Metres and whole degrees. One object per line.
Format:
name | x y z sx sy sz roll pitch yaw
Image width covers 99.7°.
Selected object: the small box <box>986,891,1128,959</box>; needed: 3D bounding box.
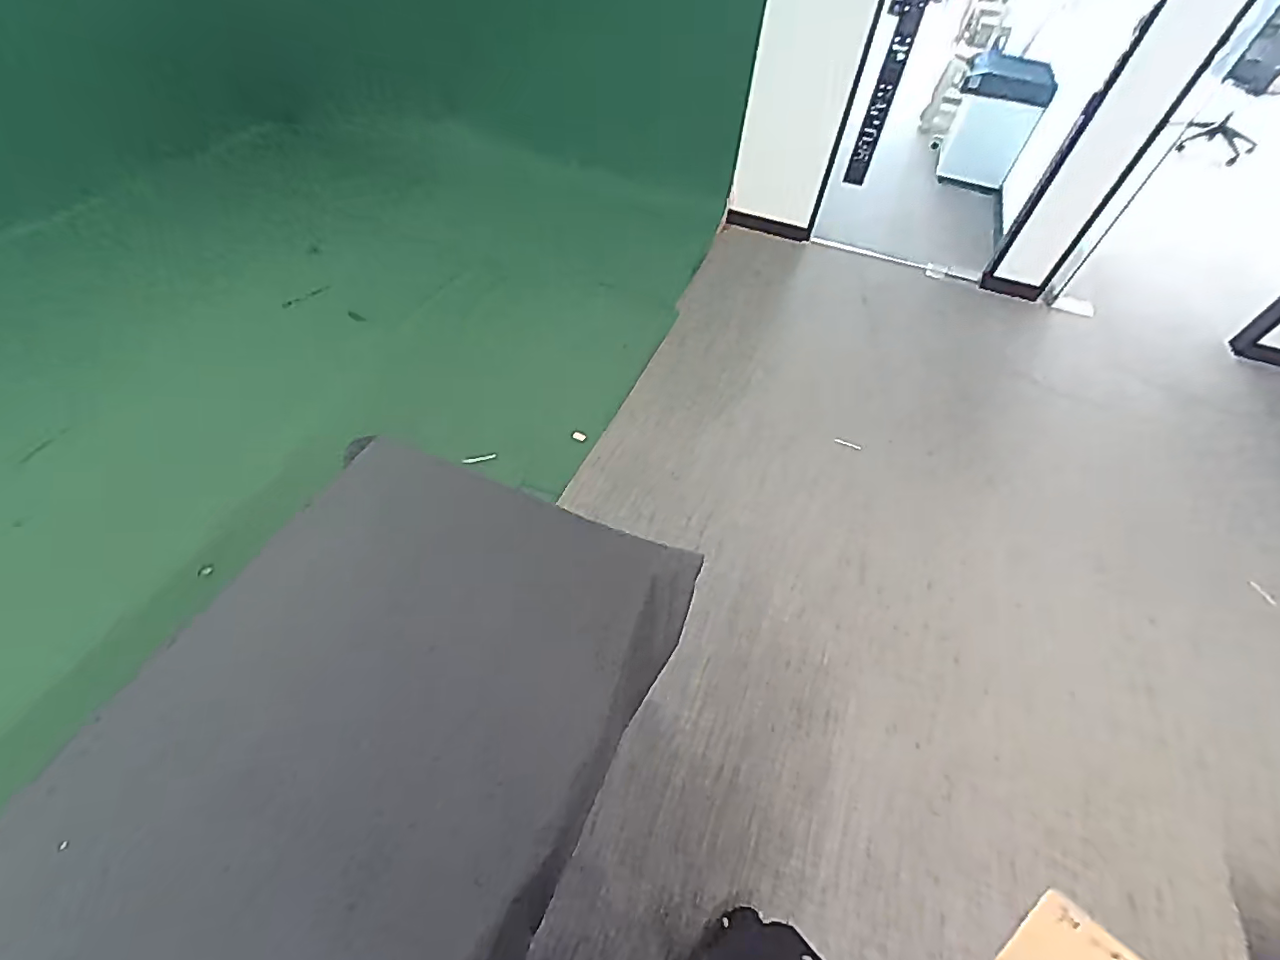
small box | 0.496 0.654 0.632 0.179 0.176 0.168 -12 26 -33
